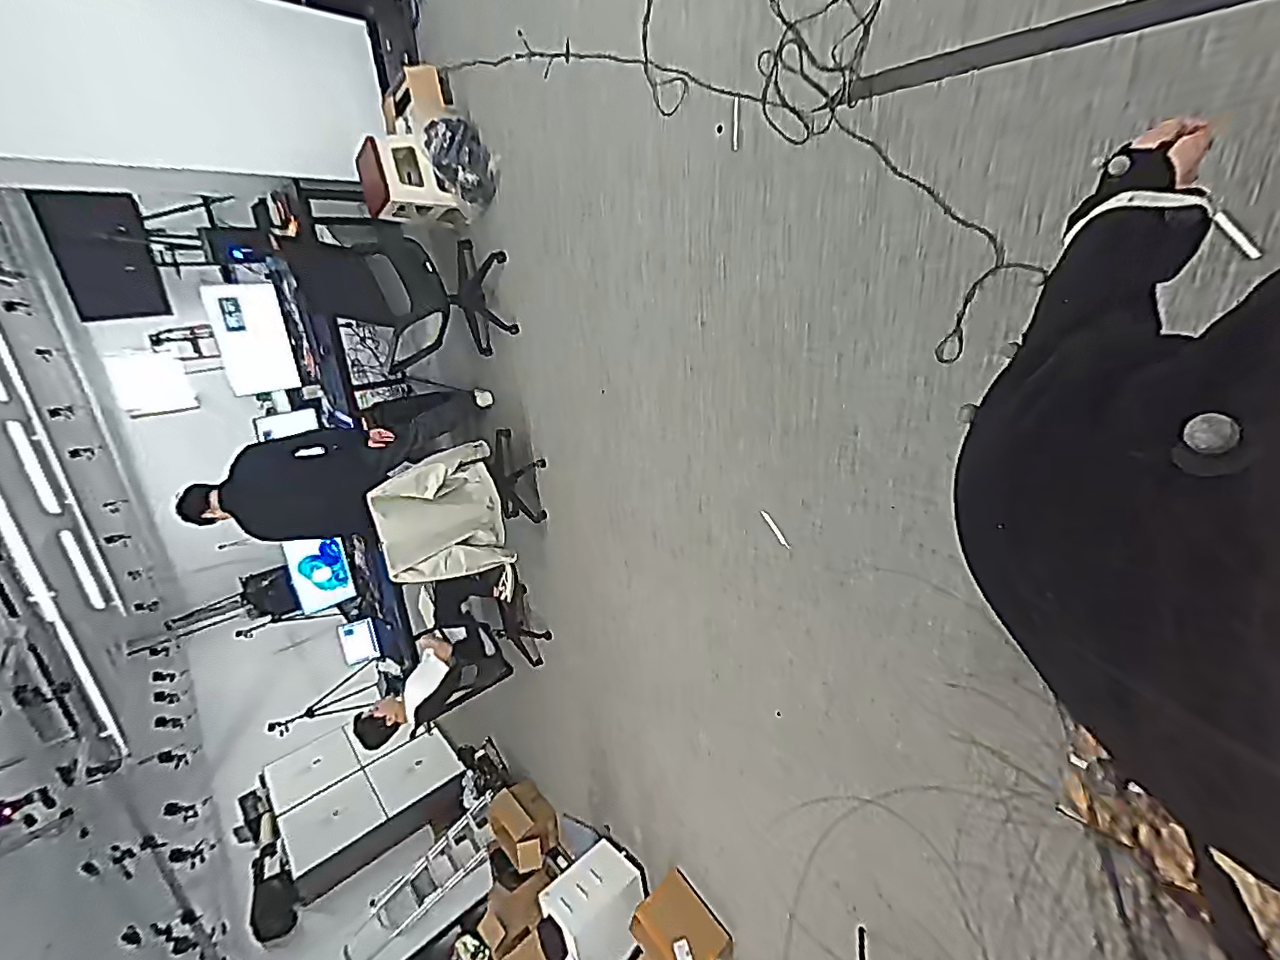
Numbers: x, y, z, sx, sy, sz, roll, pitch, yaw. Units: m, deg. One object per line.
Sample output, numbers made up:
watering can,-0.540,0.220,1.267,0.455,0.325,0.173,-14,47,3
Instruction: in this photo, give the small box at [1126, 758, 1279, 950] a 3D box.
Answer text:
small box,0.993,0.640,0.948,0.168,0.176,0.179,15,117,46
